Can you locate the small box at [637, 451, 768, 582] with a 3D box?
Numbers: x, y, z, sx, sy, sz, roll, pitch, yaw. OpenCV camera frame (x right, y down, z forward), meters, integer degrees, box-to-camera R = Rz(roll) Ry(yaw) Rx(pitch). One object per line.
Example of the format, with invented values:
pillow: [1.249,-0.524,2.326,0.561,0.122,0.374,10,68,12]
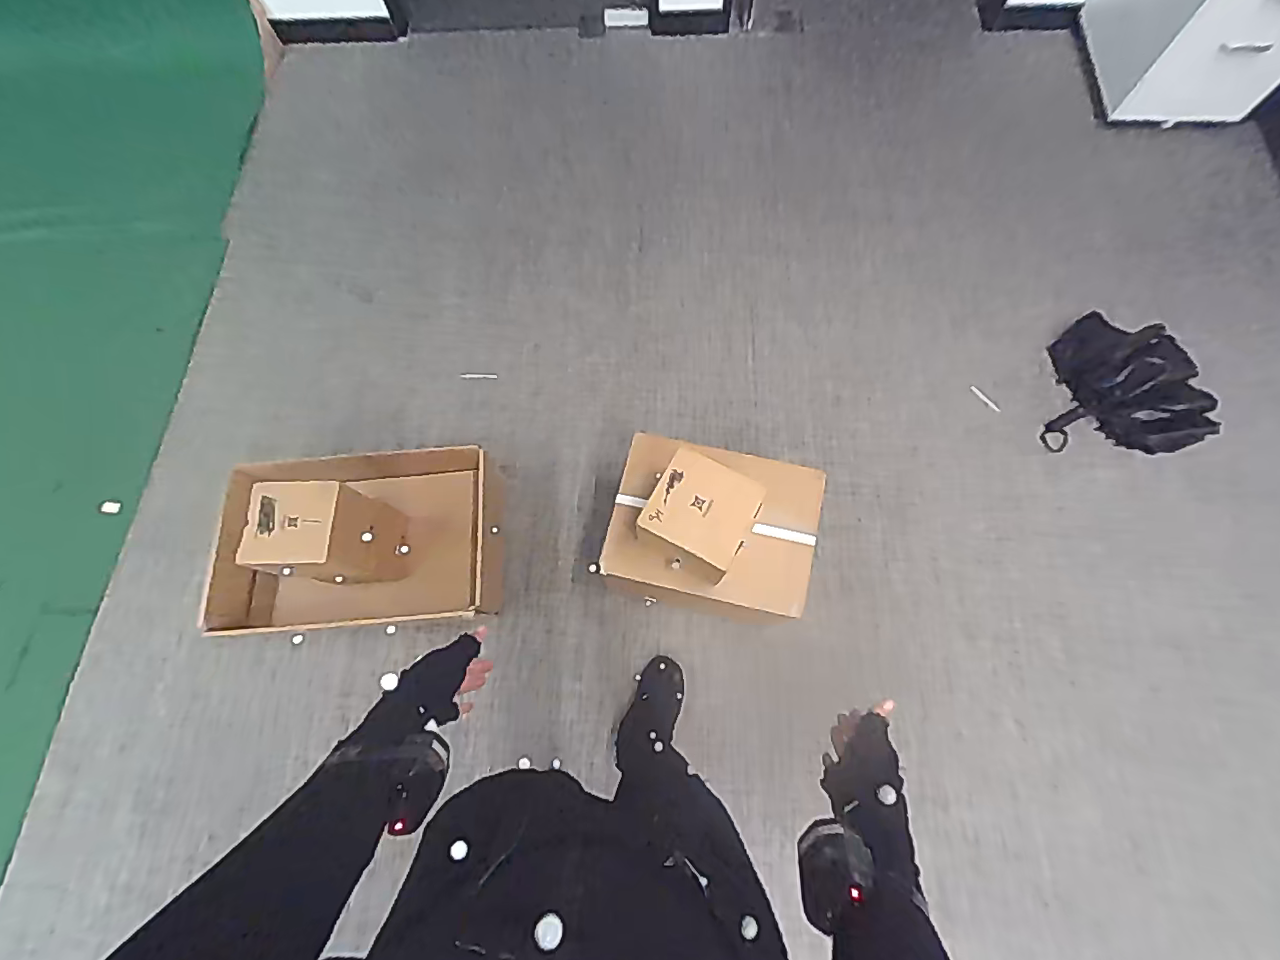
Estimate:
small box: [0.109,0.077,1.003,0.179,0.176,0.168,28,75,10]

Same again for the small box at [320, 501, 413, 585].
small box: [-0.666,0.154,1.285,0.179,0.176,0.168,-3,72,-1]

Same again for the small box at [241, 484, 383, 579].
small box: [-0.669,0.112,1.125,0.179,0.176,0.168,-1,71,0]
